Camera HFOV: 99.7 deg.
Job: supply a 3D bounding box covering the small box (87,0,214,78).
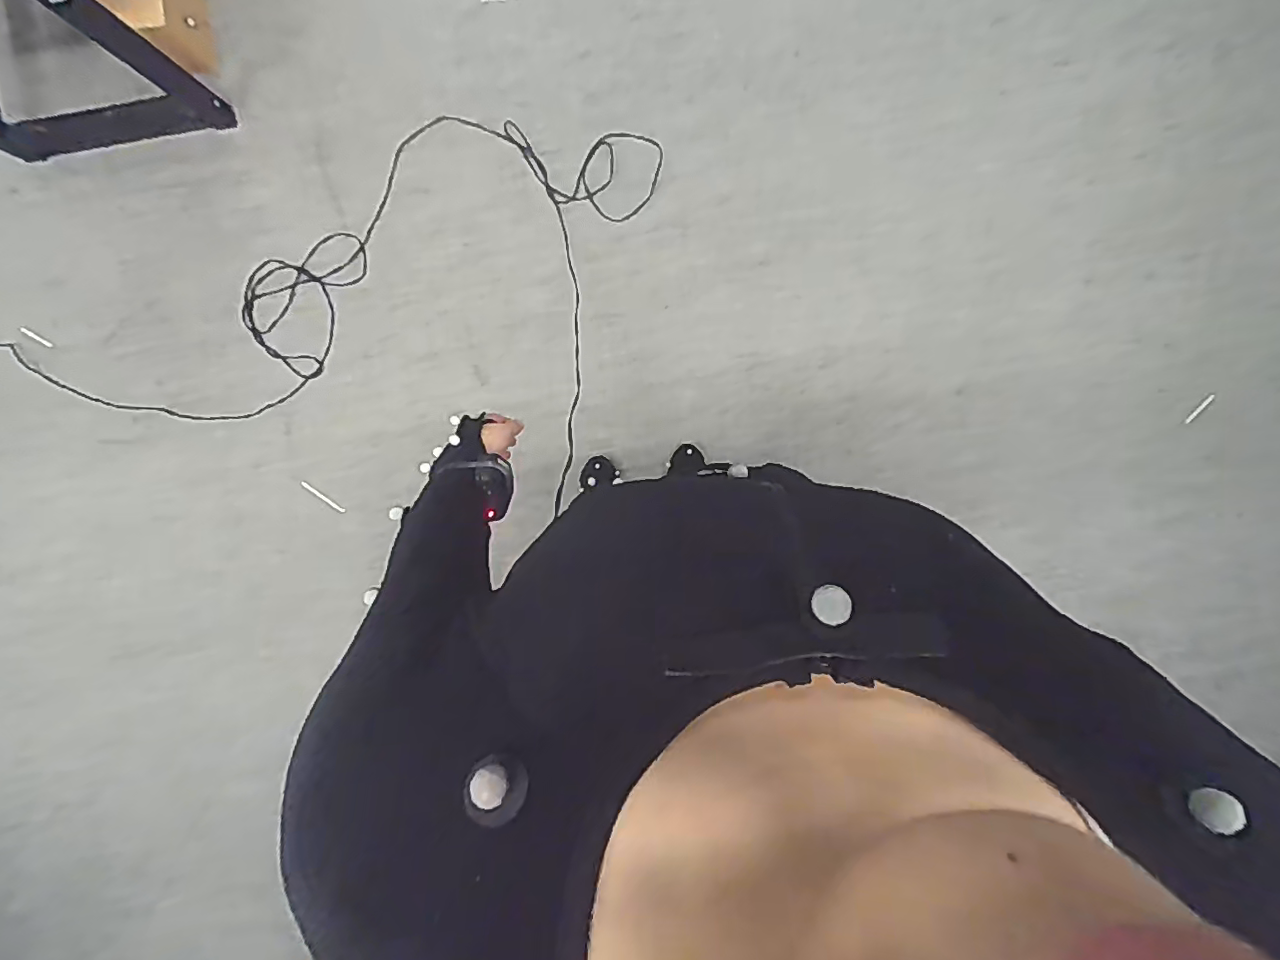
[{"bbox_3d":[-1.189,-1.128,1.325,0.179,0.176,0.168,-4,95,1],"label":"small box"}]
